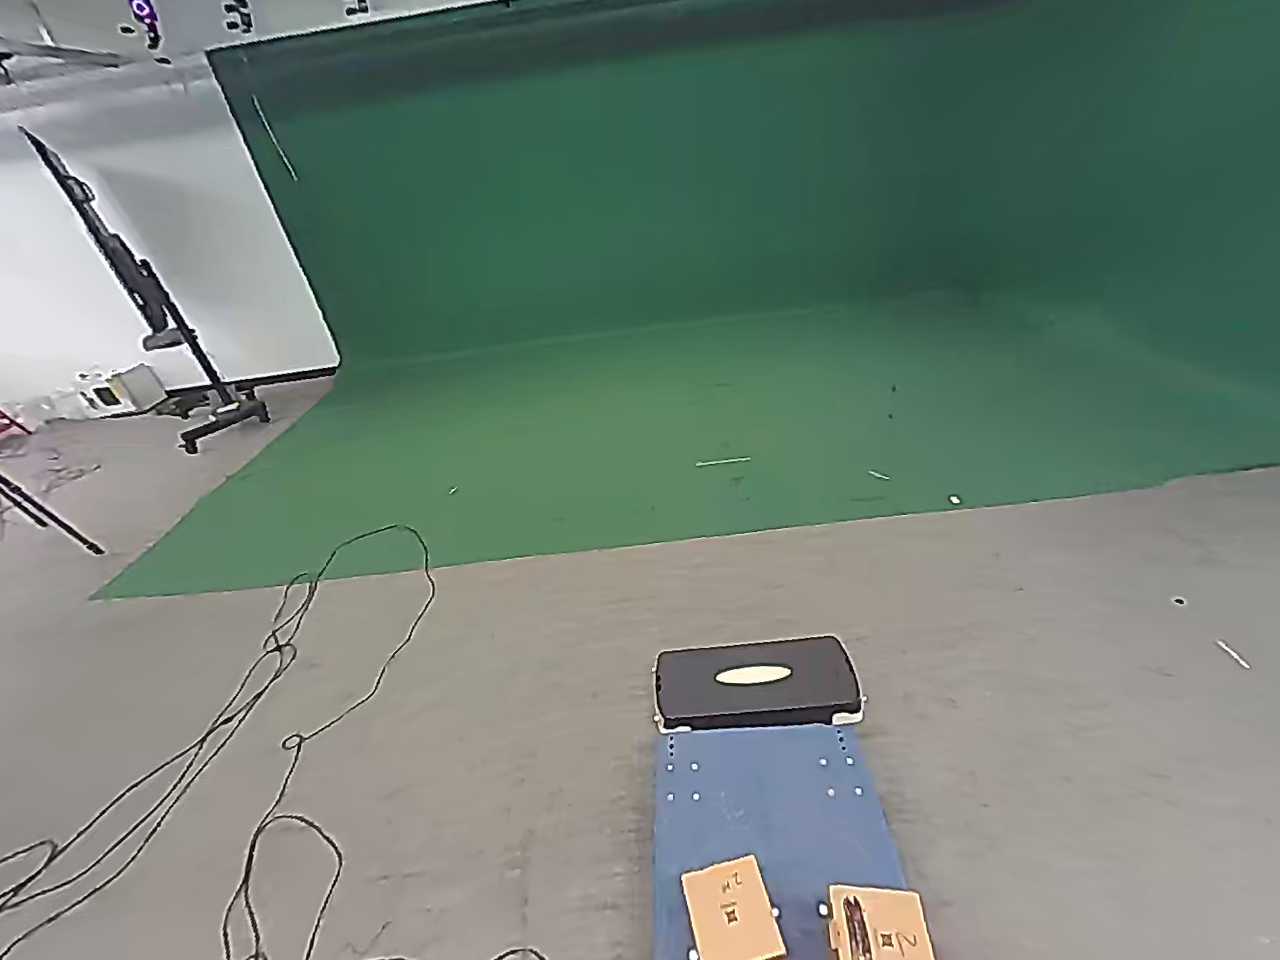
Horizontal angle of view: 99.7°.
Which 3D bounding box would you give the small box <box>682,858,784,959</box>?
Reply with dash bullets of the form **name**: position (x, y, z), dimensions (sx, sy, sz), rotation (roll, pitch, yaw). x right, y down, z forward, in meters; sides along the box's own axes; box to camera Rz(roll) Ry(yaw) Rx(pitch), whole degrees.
- **small box**: position (0.191, 0.939, 1.130), dimensions (0.168, 0.176, 0.179), rotation (-11, 33, -6)
